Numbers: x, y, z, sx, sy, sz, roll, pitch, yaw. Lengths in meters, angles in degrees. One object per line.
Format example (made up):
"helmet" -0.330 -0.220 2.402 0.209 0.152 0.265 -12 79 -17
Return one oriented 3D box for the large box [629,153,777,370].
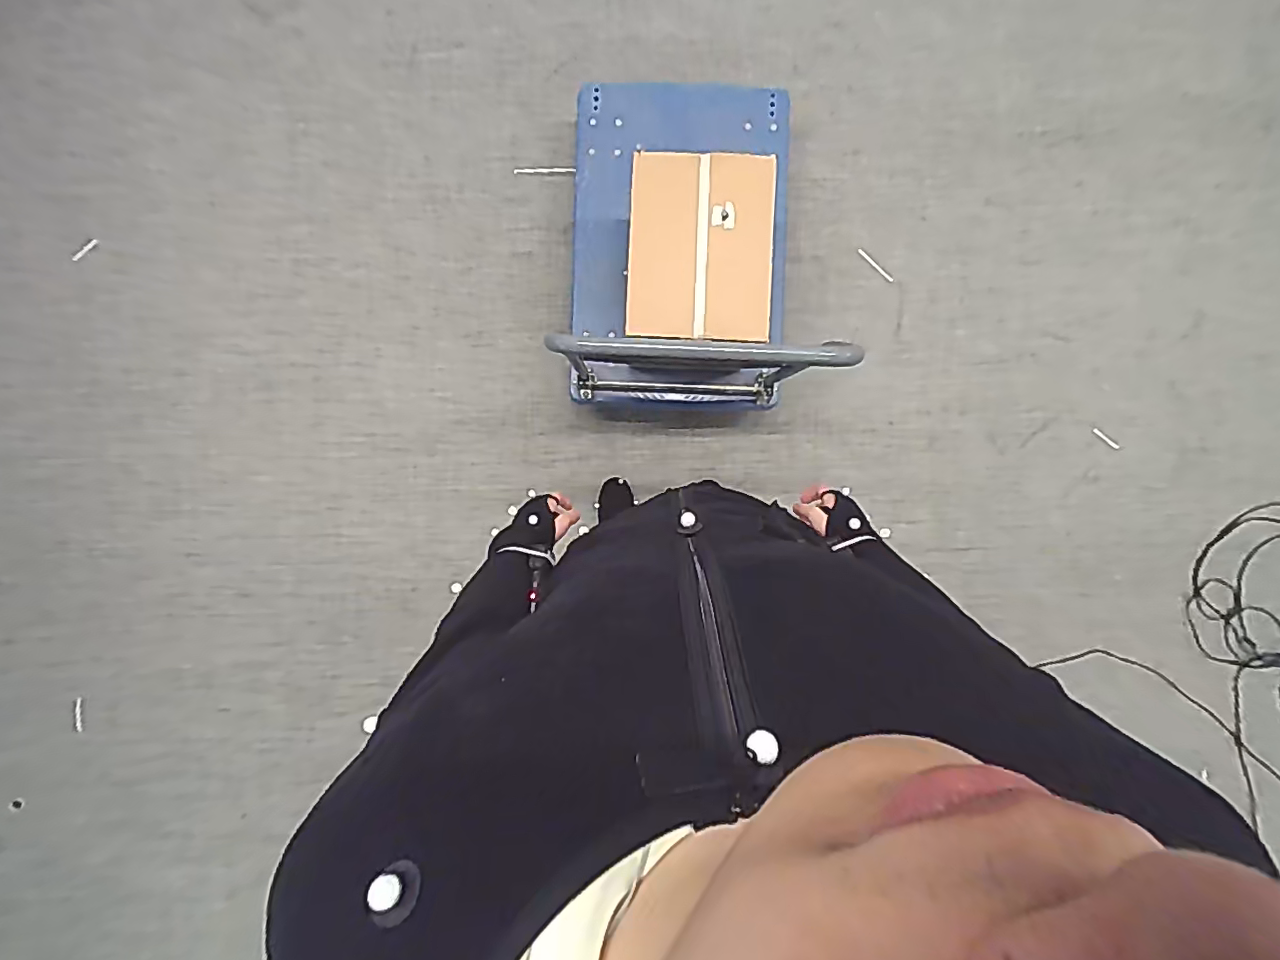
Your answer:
"large box" 0.137 -0.496 1.305 0.320 0.320 0.408 2 89 -1
